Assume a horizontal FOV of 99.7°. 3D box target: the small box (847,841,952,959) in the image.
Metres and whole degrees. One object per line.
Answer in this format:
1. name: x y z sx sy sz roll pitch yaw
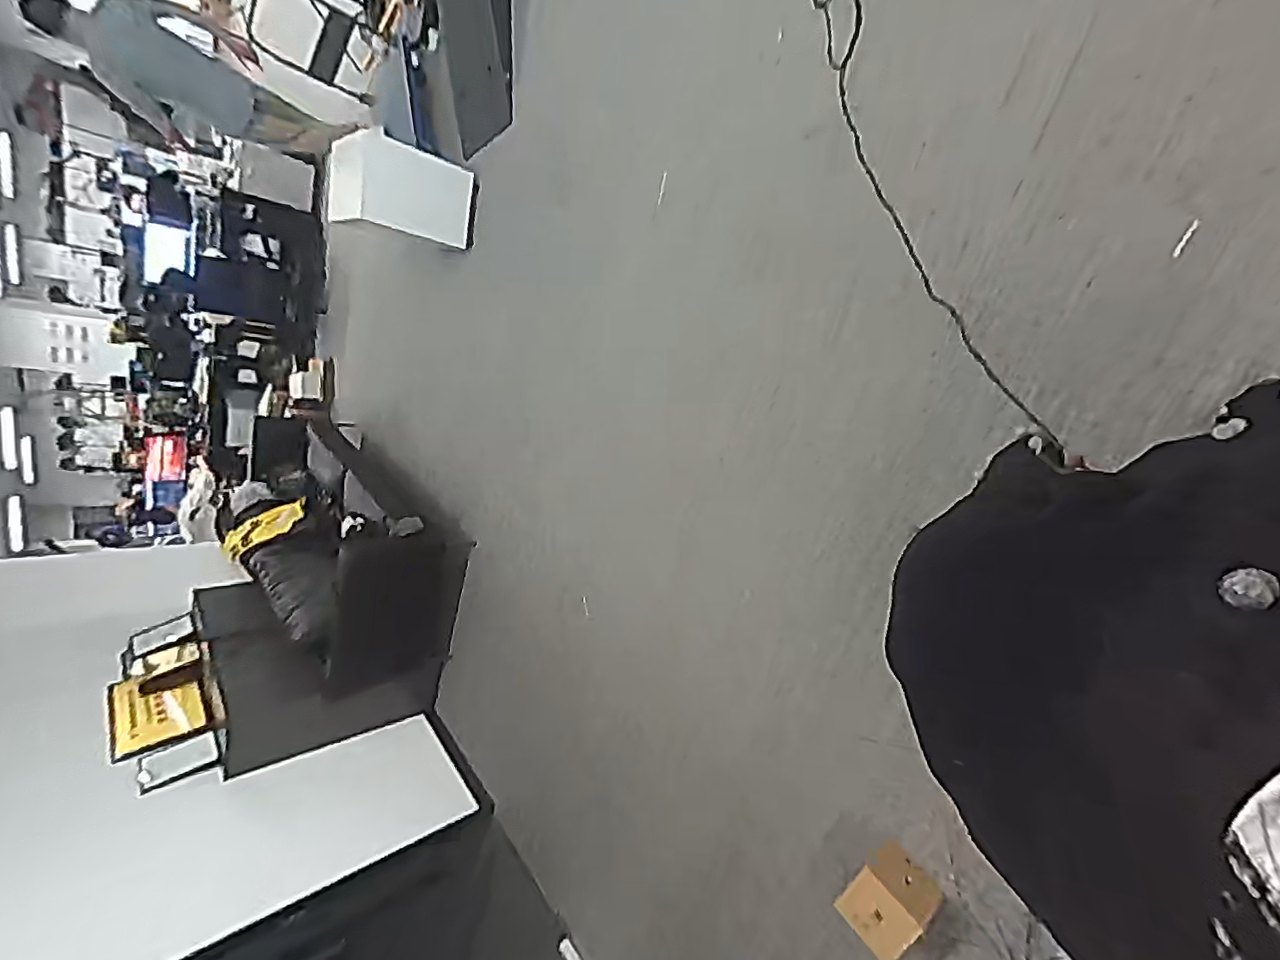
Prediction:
1. small box: 0.688 1.104 1.424 0.168 0.176 0.179 40 118 37
